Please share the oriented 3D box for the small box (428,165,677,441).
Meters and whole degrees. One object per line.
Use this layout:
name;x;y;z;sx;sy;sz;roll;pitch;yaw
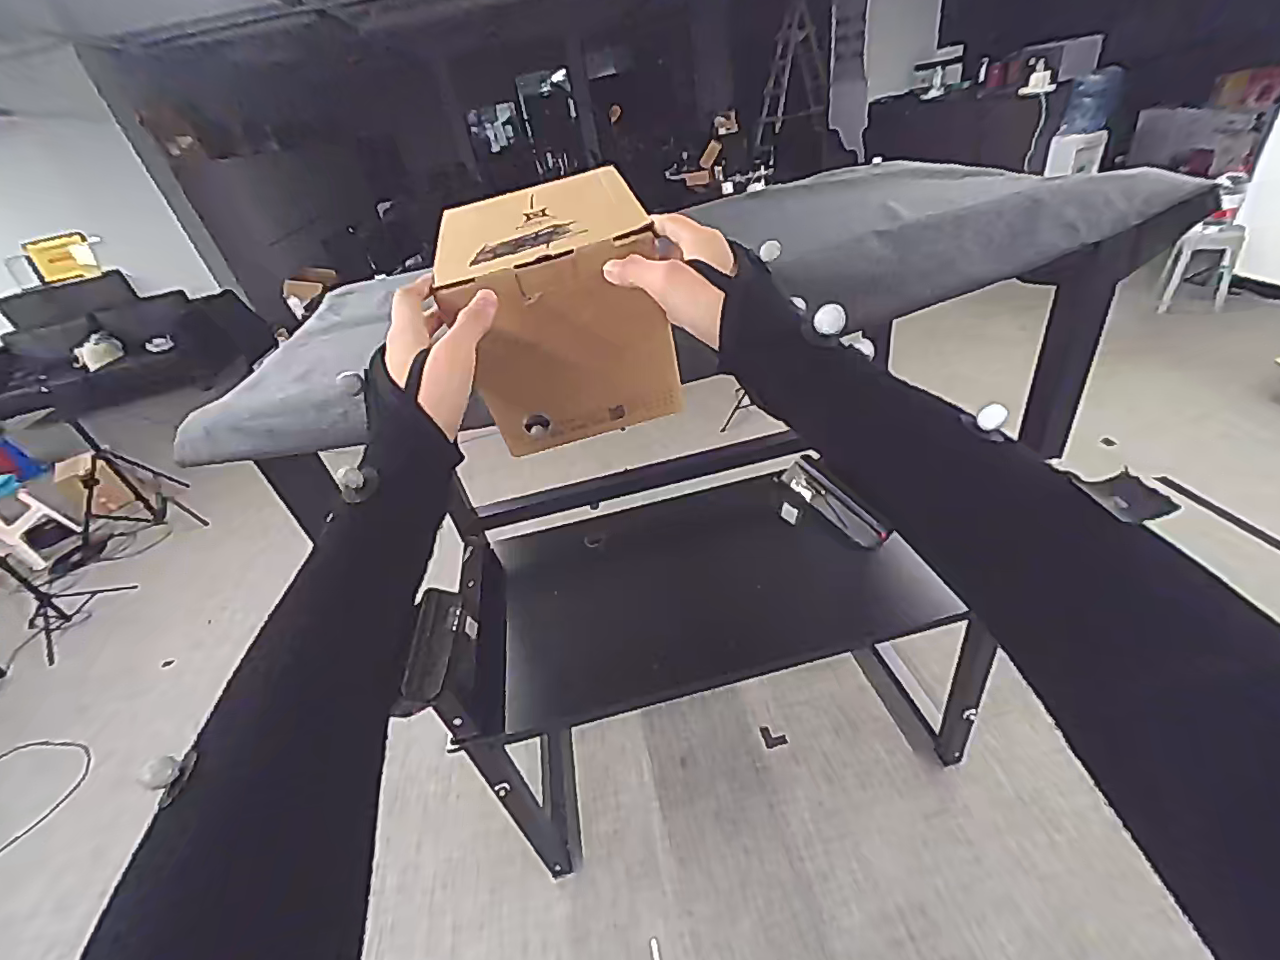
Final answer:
small box;-0.071;-0.154;0.492;0.168;0.176;0.179;-16;44;-1
